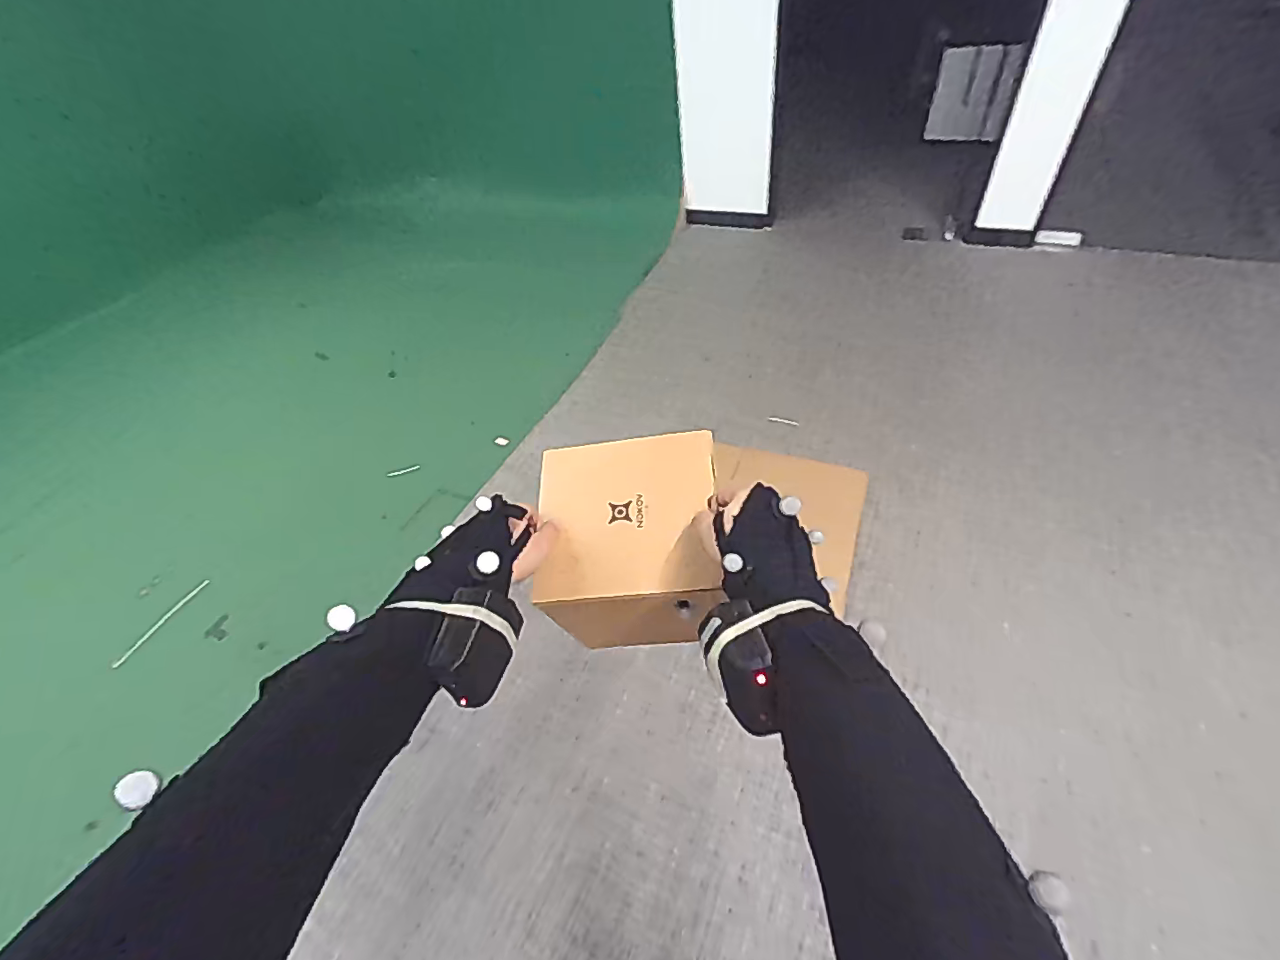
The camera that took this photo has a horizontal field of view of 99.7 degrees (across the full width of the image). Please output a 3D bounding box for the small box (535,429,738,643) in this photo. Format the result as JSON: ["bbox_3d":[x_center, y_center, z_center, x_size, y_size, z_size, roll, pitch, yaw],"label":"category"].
[{"bbox_3d":[0.007,0.068,0.573,0.179,0.176,0.168,-6,58,9],"label":"small box"}]
